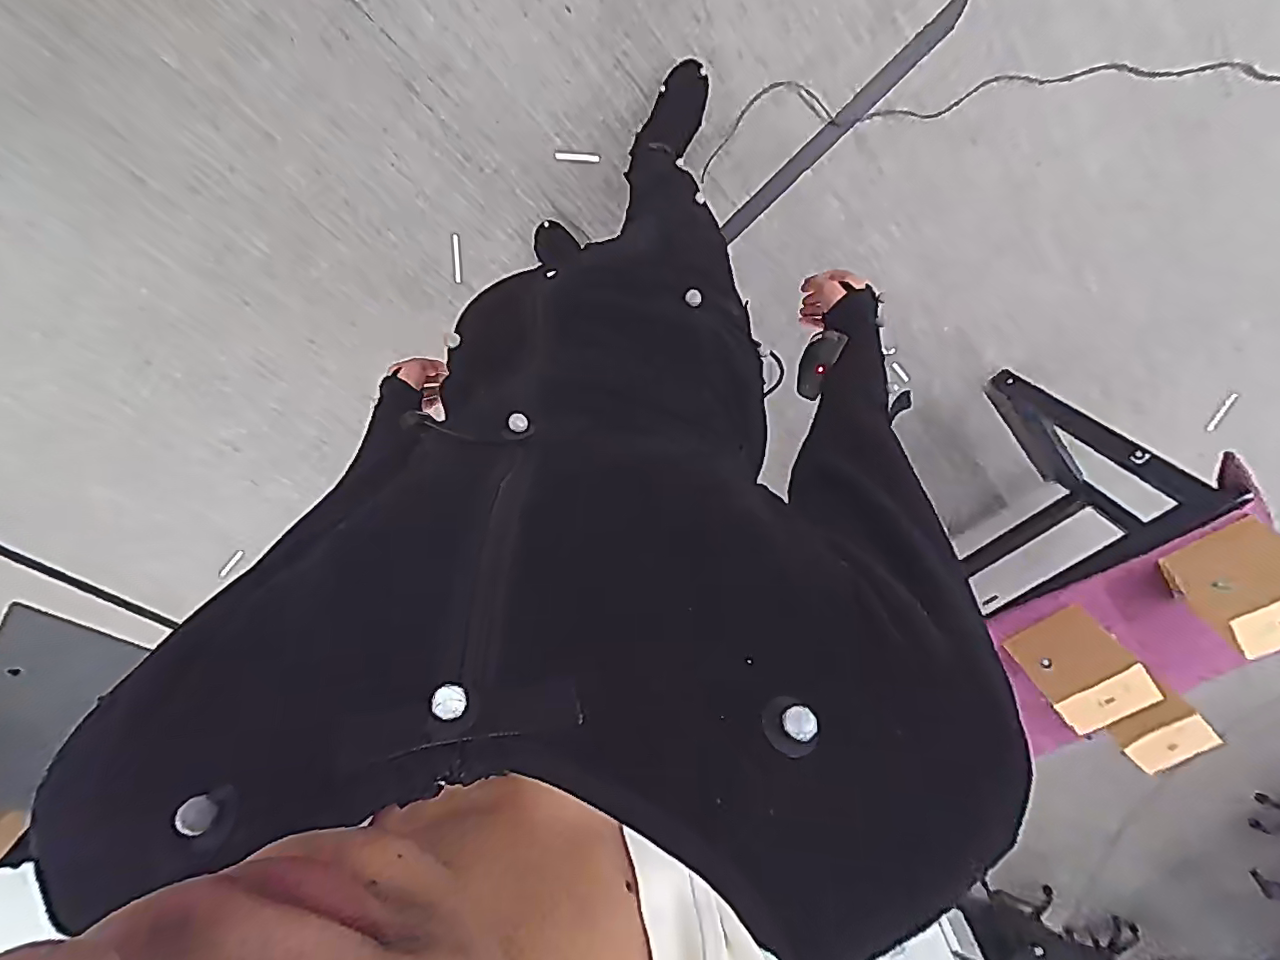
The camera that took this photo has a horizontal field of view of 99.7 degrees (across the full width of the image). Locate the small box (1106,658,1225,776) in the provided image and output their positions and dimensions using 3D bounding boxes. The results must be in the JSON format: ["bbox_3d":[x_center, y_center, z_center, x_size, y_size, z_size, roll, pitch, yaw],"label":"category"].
[{"bbox_3d":[1.179,0.548,1.263,0.179,0.176,0.168,37,112,-23],"label":"small box"}]

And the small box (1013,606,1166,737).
[{"bbox_3d":[0.945,0.406,1.156,0.179,0.176,0.168,-39,117,20],"label":"small box"}]
